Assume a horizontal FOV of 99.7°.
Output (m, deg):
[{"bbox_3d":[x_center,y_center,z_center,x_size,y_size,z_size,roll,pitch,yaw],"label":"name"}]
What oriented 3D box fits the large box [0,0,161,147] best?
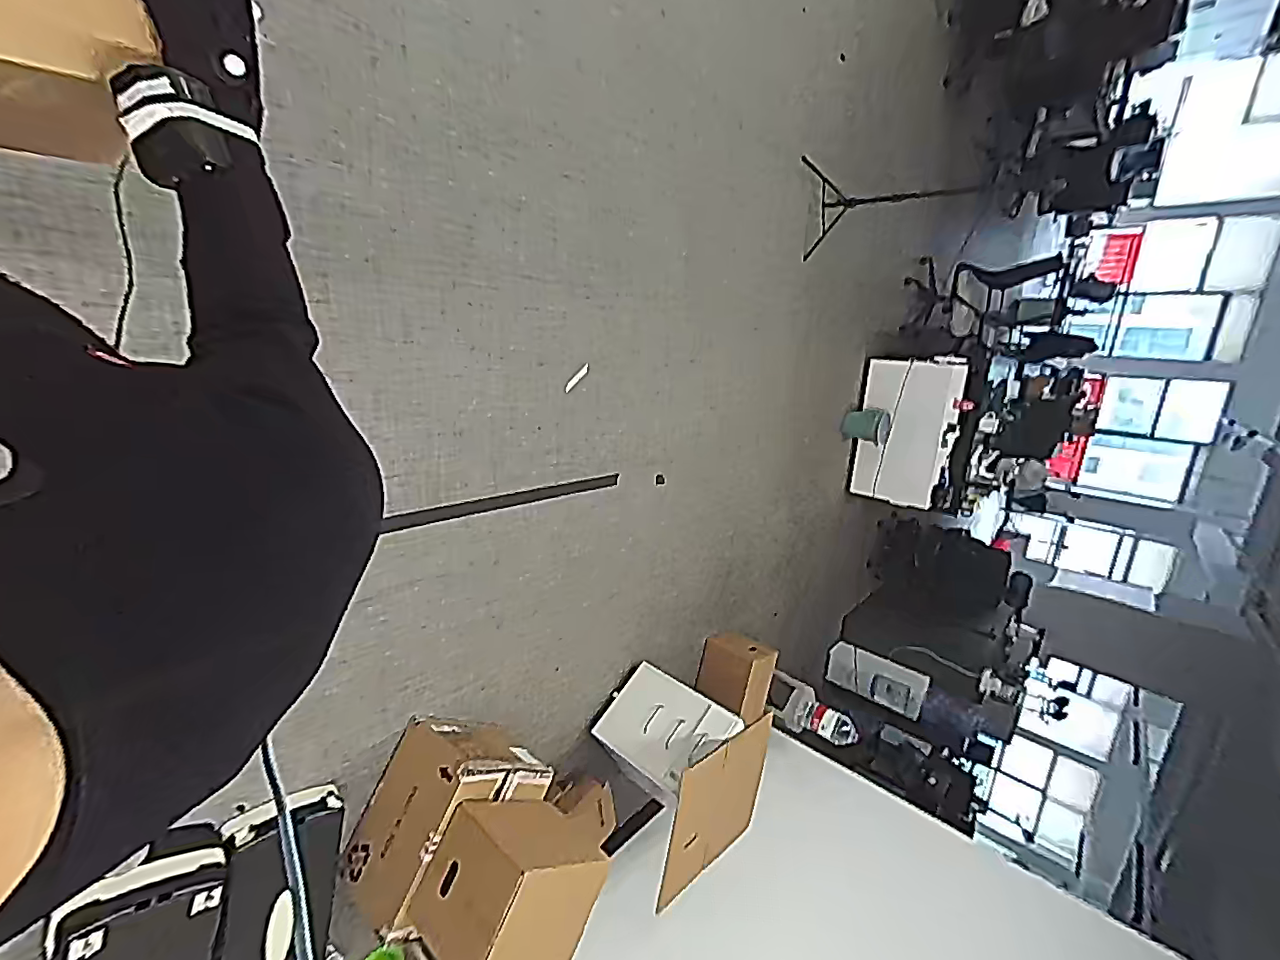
[{"bbox_3d":[-0.603,-0.426,0.308,0.408,0.320,0.320,-20,118,-47],"label":"large box"}]
